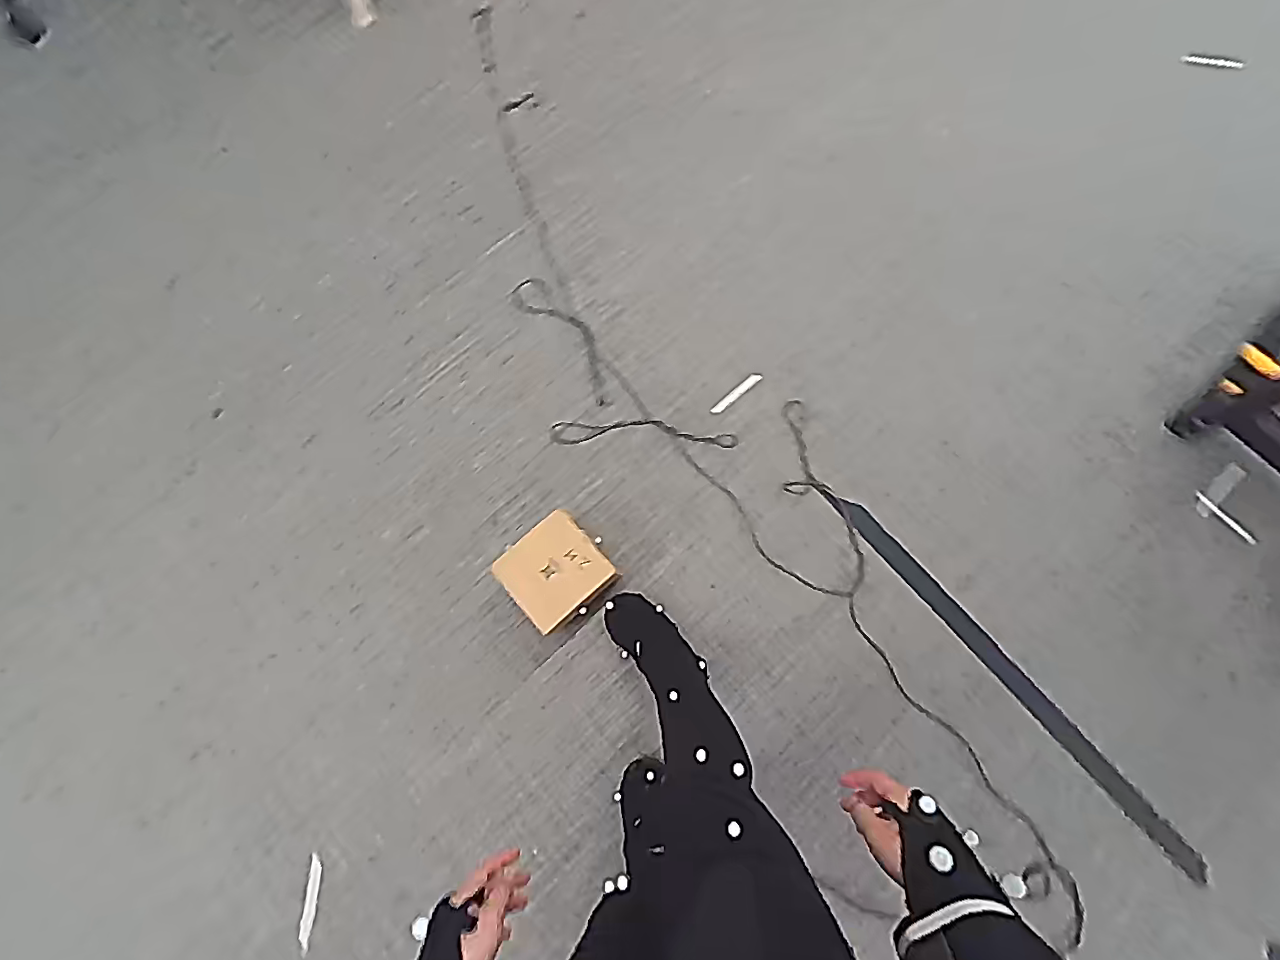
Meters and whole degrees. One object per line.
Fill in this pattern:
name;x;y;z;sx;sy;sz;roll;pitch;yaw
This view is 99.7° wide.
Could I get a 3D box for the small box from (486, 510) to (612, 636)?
small box;-0.170;0.186;1.076;0.179;0.176;0.168;-41;81;-8
